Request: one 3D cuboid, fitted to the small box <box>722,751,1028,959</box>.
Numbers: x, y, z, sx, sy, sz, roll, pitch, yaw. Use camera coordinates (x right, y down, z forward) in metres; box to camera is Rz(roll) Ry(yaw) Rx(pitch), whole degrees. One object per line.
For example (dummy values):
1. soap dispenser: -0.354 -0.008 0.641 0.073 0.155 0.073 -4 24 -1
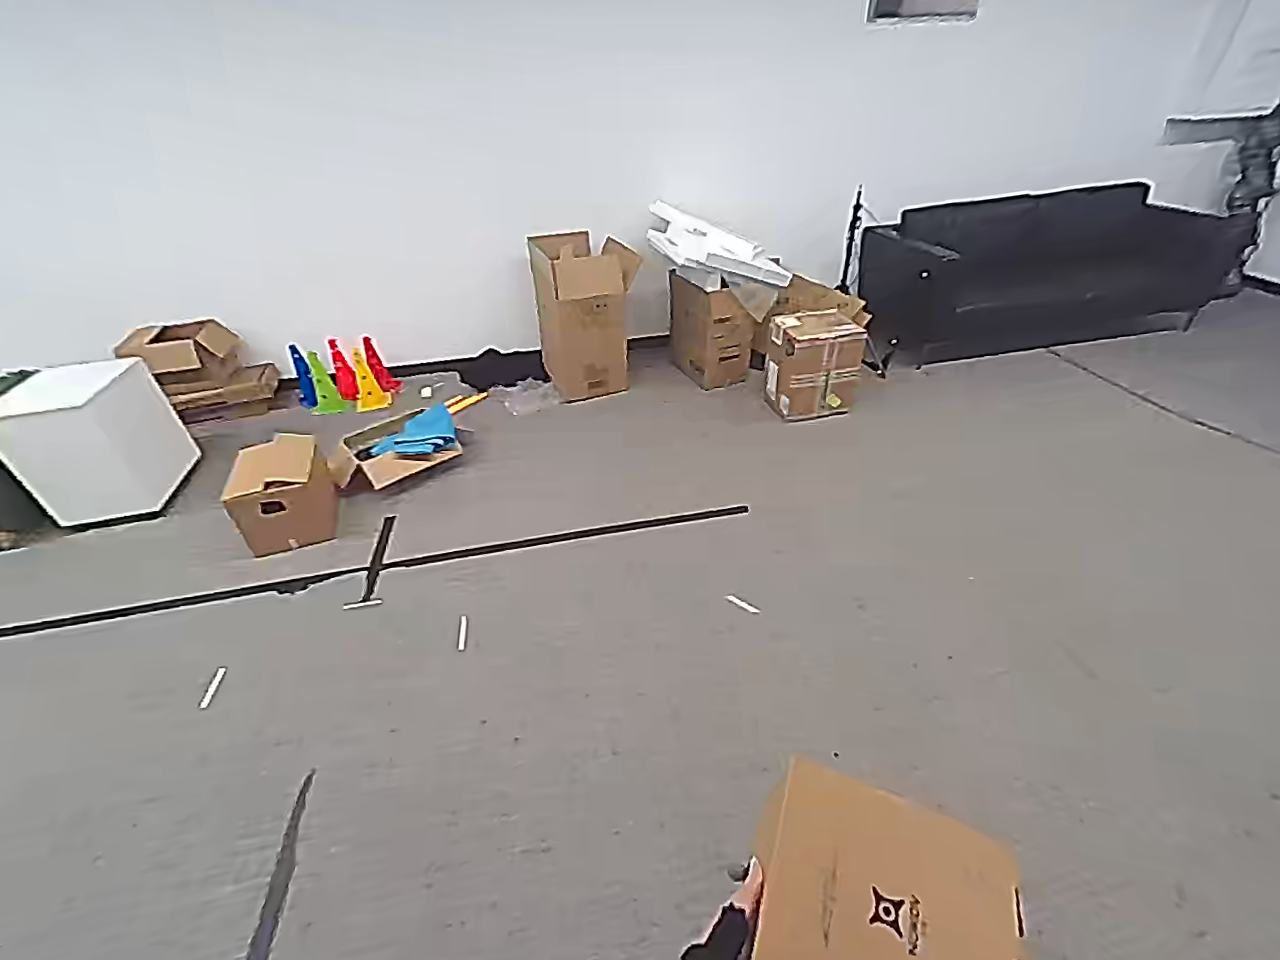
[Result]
1. small box: 0.173 0.357 0.430 0.179 0.176 0.168 16 43 15
